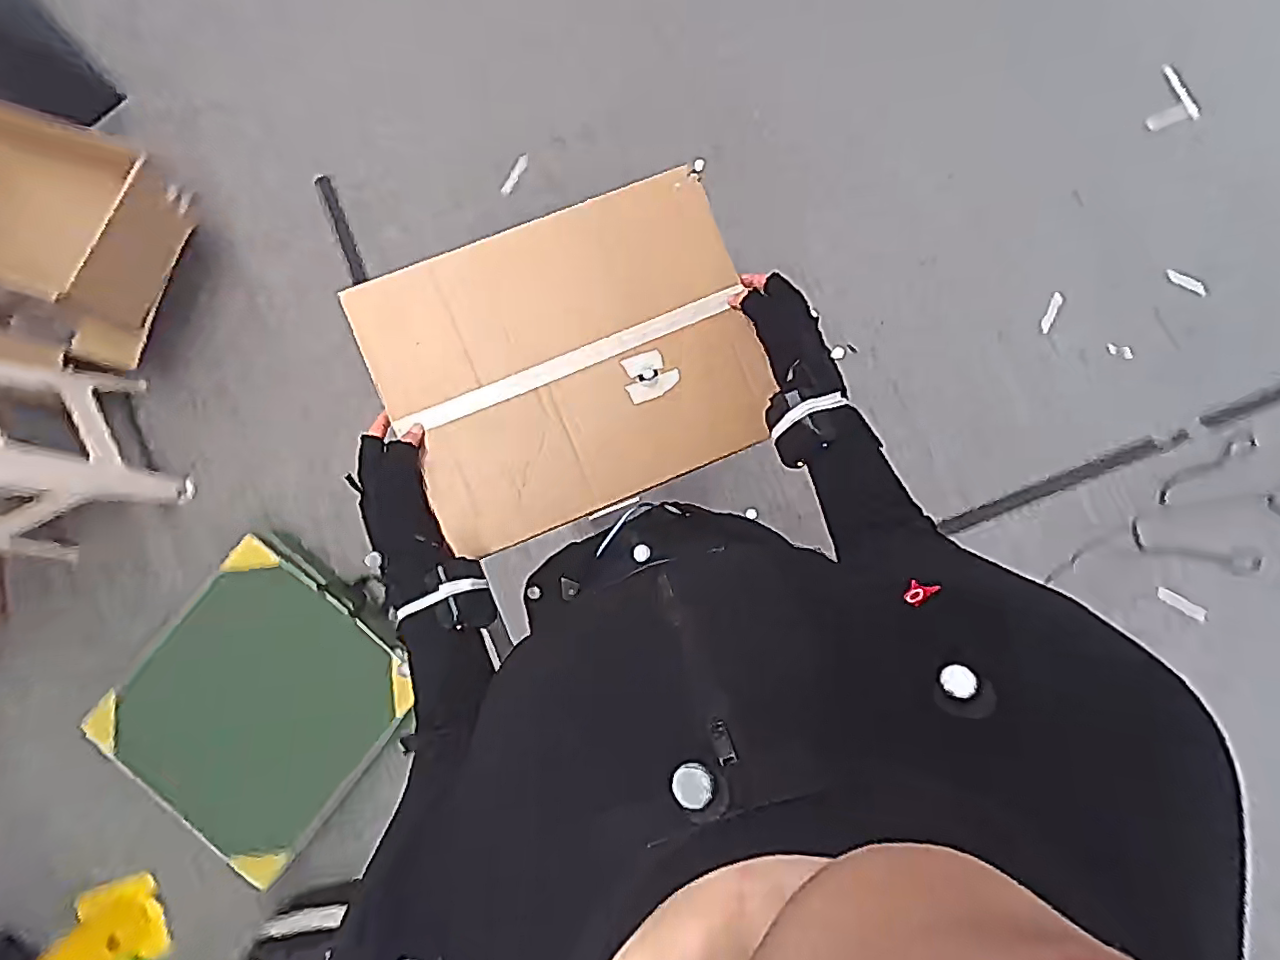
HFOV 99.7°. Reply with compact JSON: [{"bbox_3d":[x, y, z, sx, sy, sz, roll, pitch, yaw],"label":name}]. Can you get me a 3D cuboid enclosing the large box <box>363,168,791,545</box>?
[{"bbox_3d":[-0.076,-0.137,0.745,0.408,0.320,0.320,-21,92,-5],"label":"large box"}]
